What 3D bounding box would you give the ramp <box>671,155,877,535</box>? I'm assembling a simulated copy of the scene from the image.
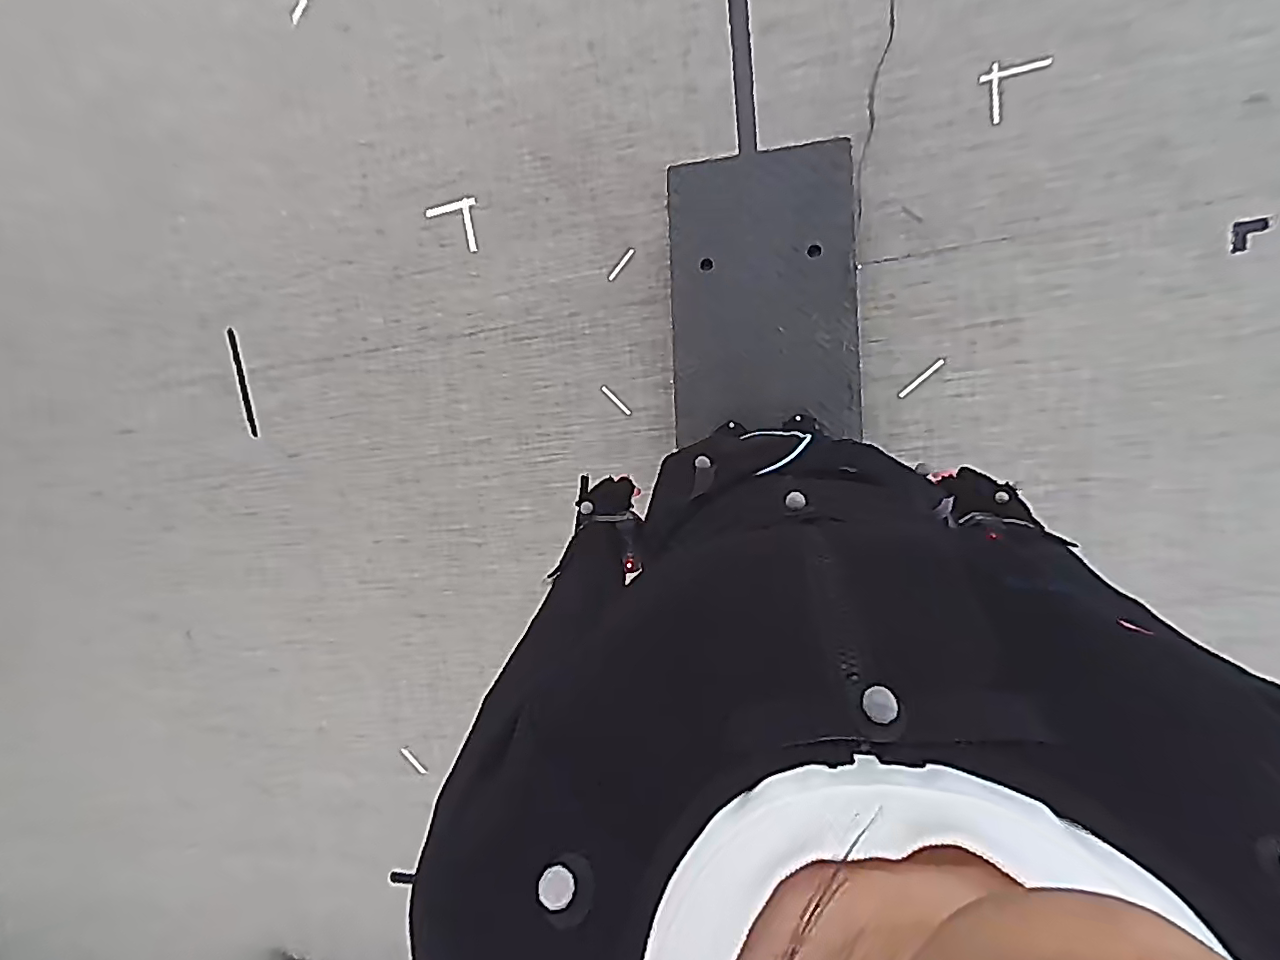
[{"bbox_3d":[0.346,-0.358,1.473,0.509,0.206,0.991,-5,96,15],"label":"ramp"}]
